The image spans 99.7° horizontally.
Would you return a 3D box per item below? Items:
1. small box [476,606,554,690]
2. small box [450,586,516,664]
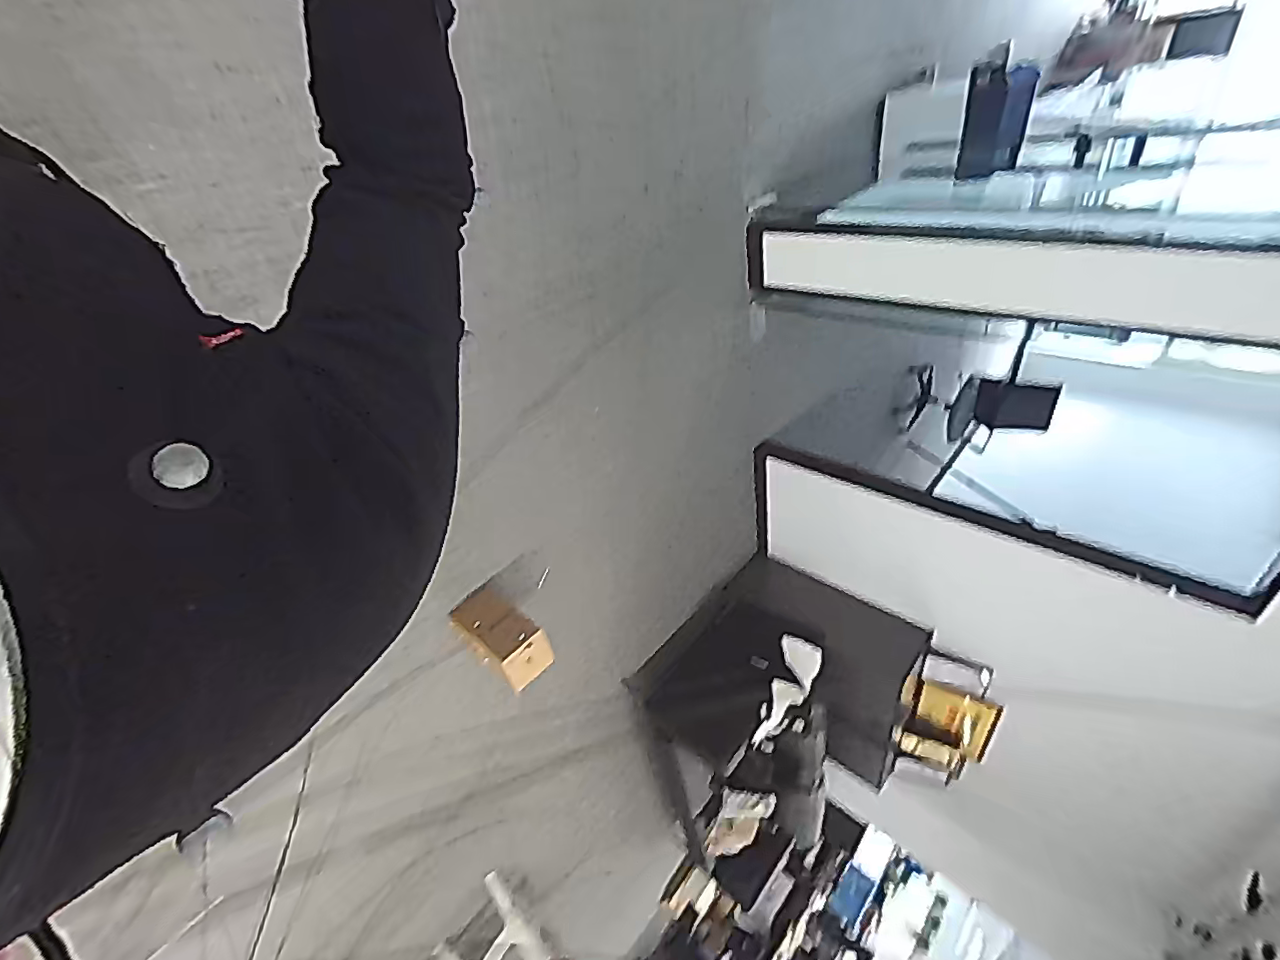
[{"bbox_3d":[-0.423,0.563,1.831,0.168,0.176,0.179,-38,135,-32],"label":"small box"},{"bbox_3d":[-0.543,0.512,1.932,0.179,0.176,0.168,-38,134,-32],"label":"small box"}]
